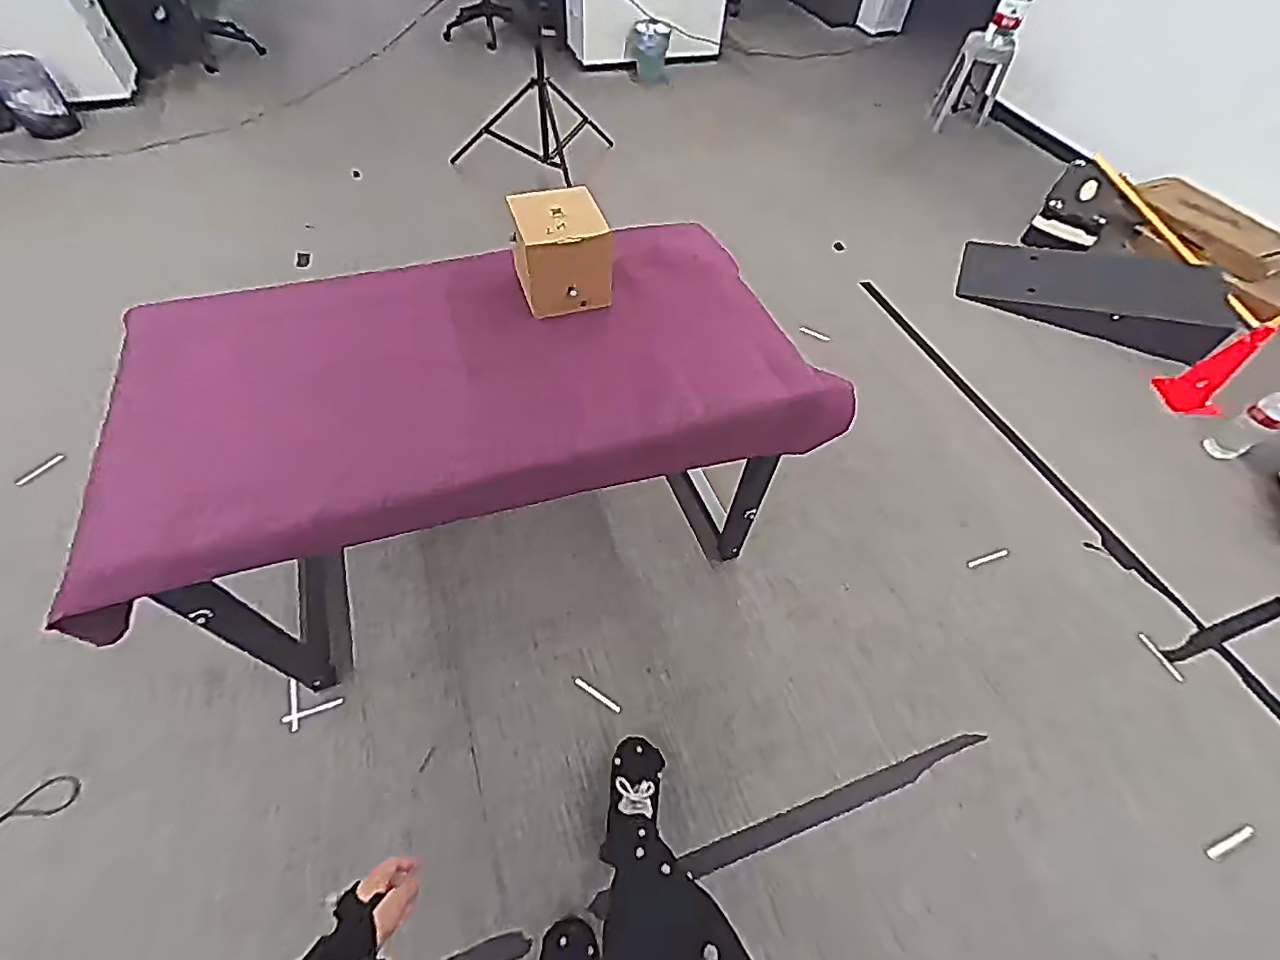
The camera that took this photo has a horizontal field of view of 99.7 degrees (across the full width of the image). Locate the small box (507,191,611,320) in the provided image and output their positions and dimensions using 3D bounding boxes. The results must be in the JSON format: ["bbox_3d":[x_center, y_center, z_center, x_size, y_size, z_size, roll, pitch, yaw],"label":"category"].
[{"bbox_3d":[-0.164,-0.456,1.103,0.168,0.176,0.179,-15,59,-13],"label":"small box"}]
